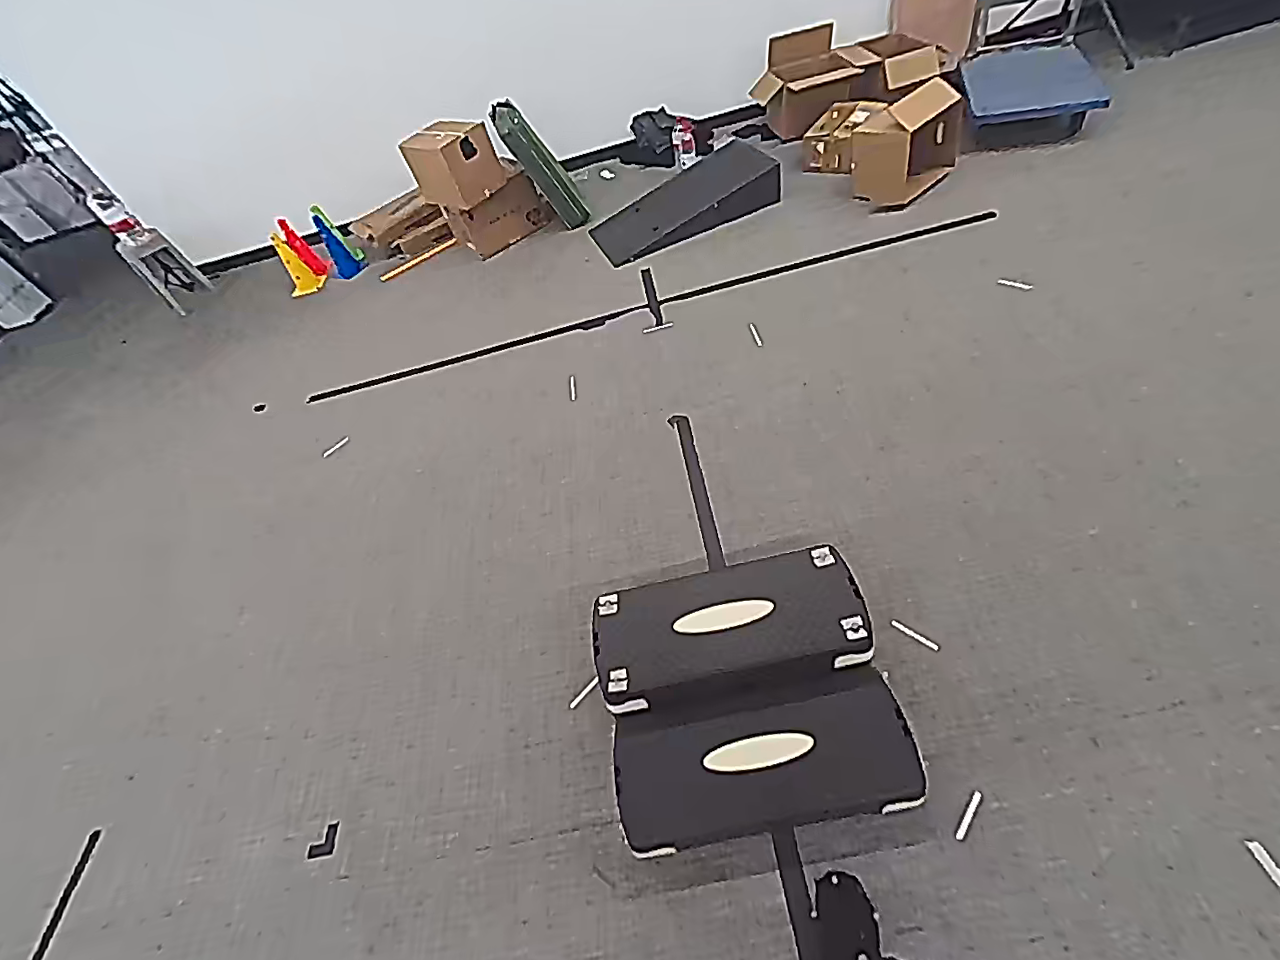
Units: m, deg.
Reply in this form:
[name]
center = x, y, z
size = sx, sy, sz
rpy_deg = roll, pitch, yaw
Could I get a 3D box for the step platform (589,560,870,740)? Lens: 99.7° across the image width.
[step platform]
center = 0.212, 0.428, 1.377
size = 0.684, 0.204, 0.286
rpy_deg = -14, 49, 3
